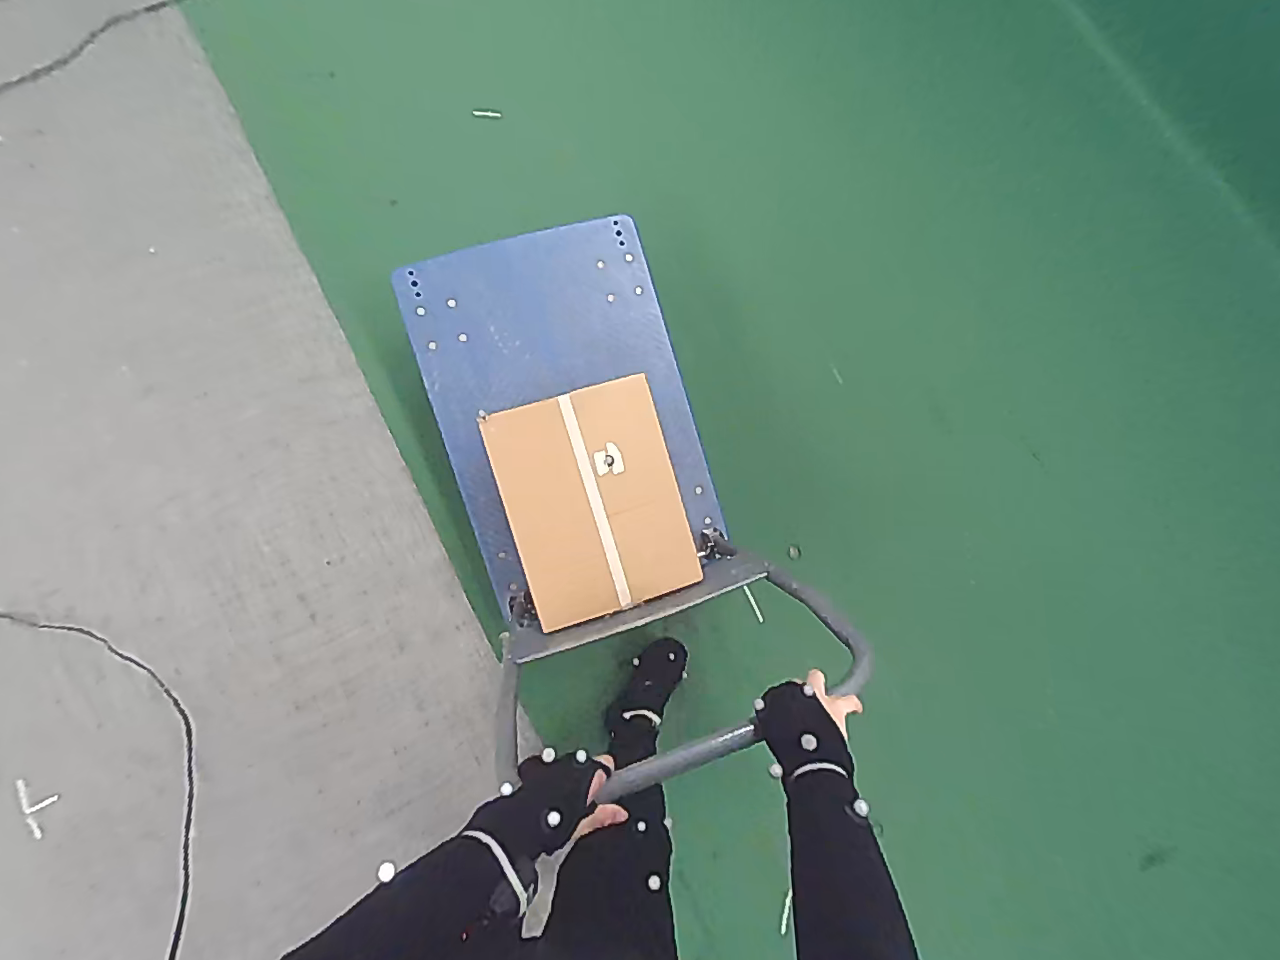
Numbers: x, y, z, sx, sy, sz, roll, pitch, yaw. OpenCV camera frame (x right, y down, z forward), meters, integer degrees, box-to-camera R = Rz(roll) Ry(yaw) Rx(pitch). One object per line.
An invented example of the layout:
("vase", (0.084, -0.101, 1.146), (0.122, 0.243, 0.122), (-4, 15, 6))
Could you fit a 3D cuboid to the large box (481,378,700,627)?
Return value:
("large box", (-0.106, 0.040, 1.153), (0.320, 0.320, 0.408), (-17, 93, -9))
